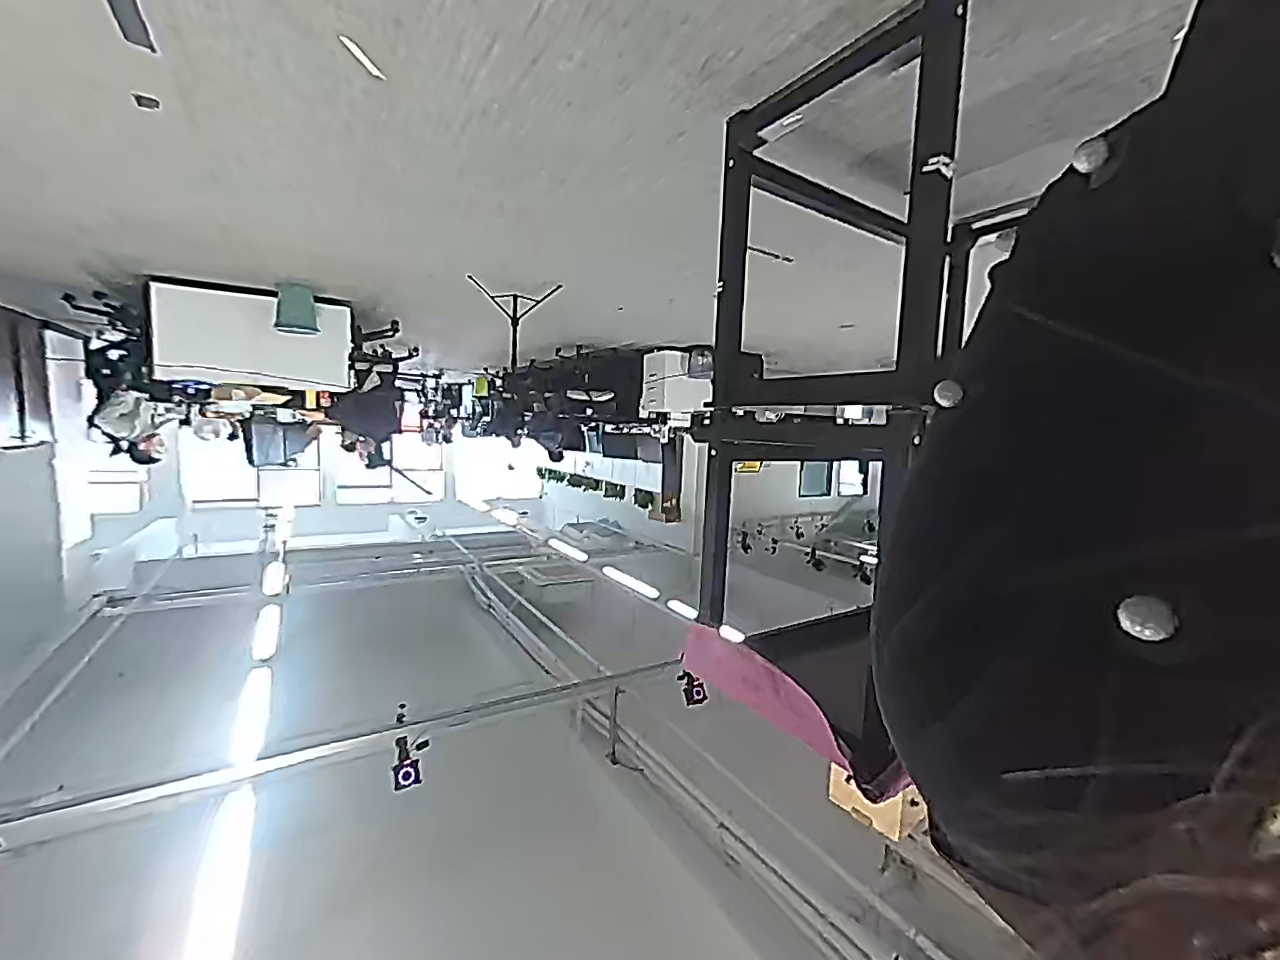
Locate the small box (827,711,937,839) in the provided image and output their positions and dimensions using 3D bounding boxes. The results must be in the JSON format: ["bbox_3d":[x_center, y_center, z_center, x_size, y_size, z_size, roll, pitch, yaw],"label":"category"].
[{"bbox_3d":[0.548,0.652,1.225,0.179,0.176,0.168,-4,-171,-38],"label":"small box"}]
